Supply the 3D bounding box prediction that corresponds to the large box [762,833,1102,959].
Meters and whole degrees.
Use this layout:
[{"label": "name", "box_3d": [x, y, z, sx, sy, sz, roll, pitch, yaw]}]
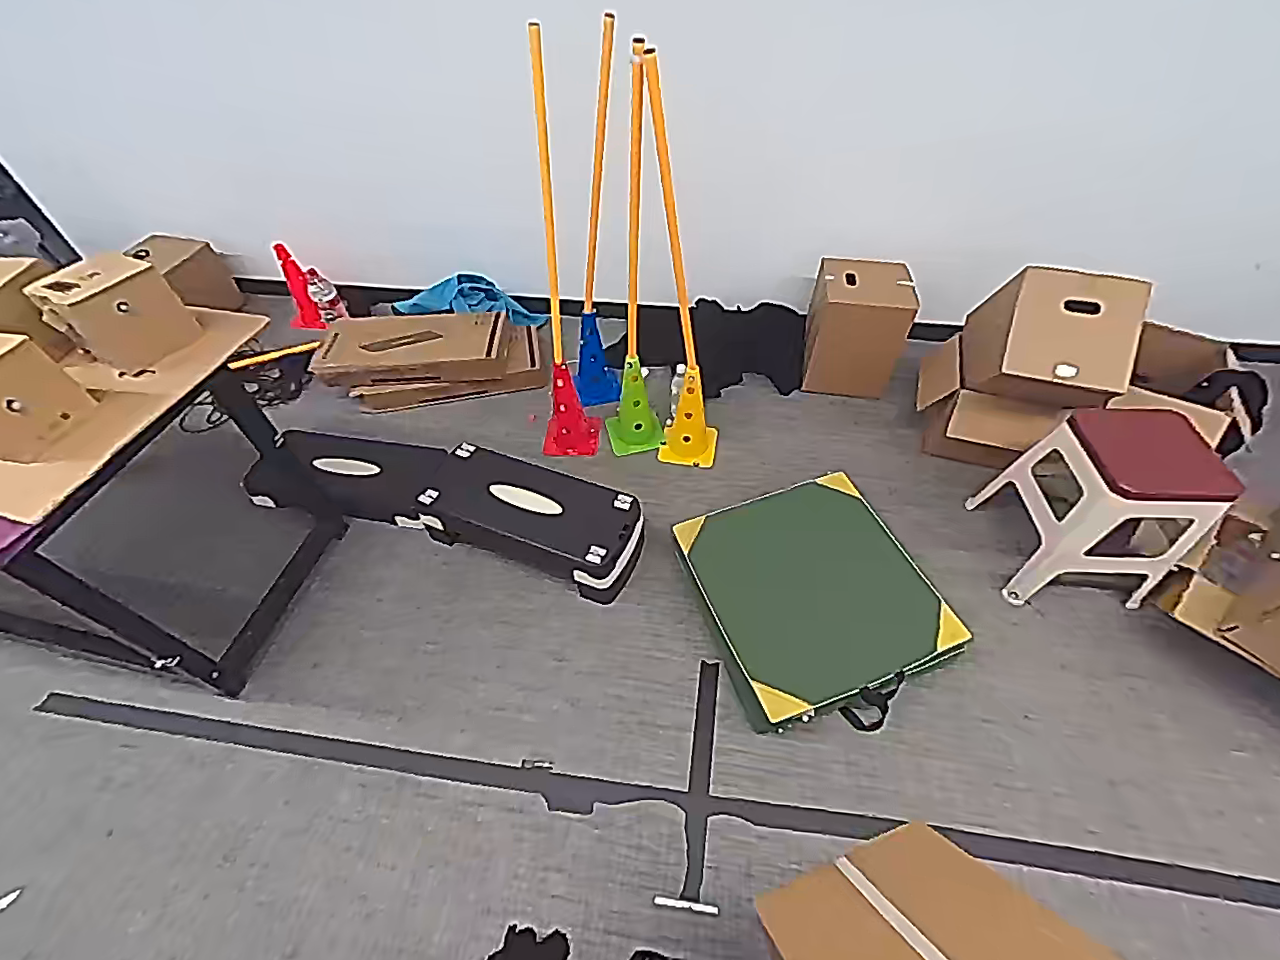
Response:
[{"label": "large box", "box_3d": [0.402, 0.734, 0.656, 0.320, 0.408, 0.320, -18, 84, -10]}]
